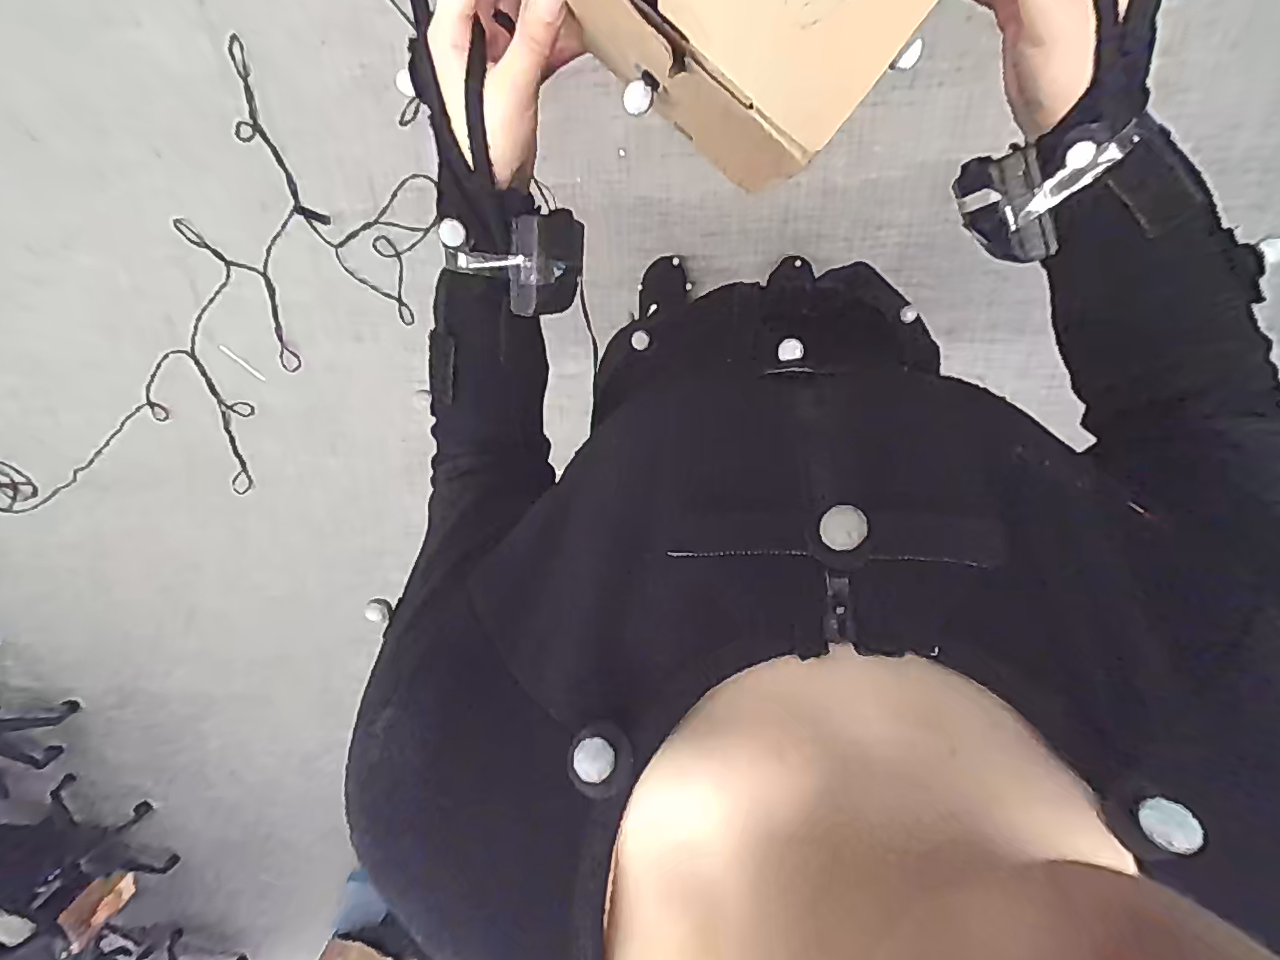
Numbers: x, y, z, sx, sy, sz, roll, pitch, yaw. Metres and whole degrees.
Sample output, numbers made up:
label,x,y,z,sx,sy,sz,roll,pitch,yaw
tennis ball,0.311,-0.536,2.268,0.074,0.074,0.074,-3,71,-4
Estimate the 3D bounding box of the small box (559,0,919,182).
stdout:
label,x,y,z,sx,sy,sz,roll,pitch,yaw
small box,0.057,-0.264,0.239,0.168,0.176,0.179,36,112,-10
